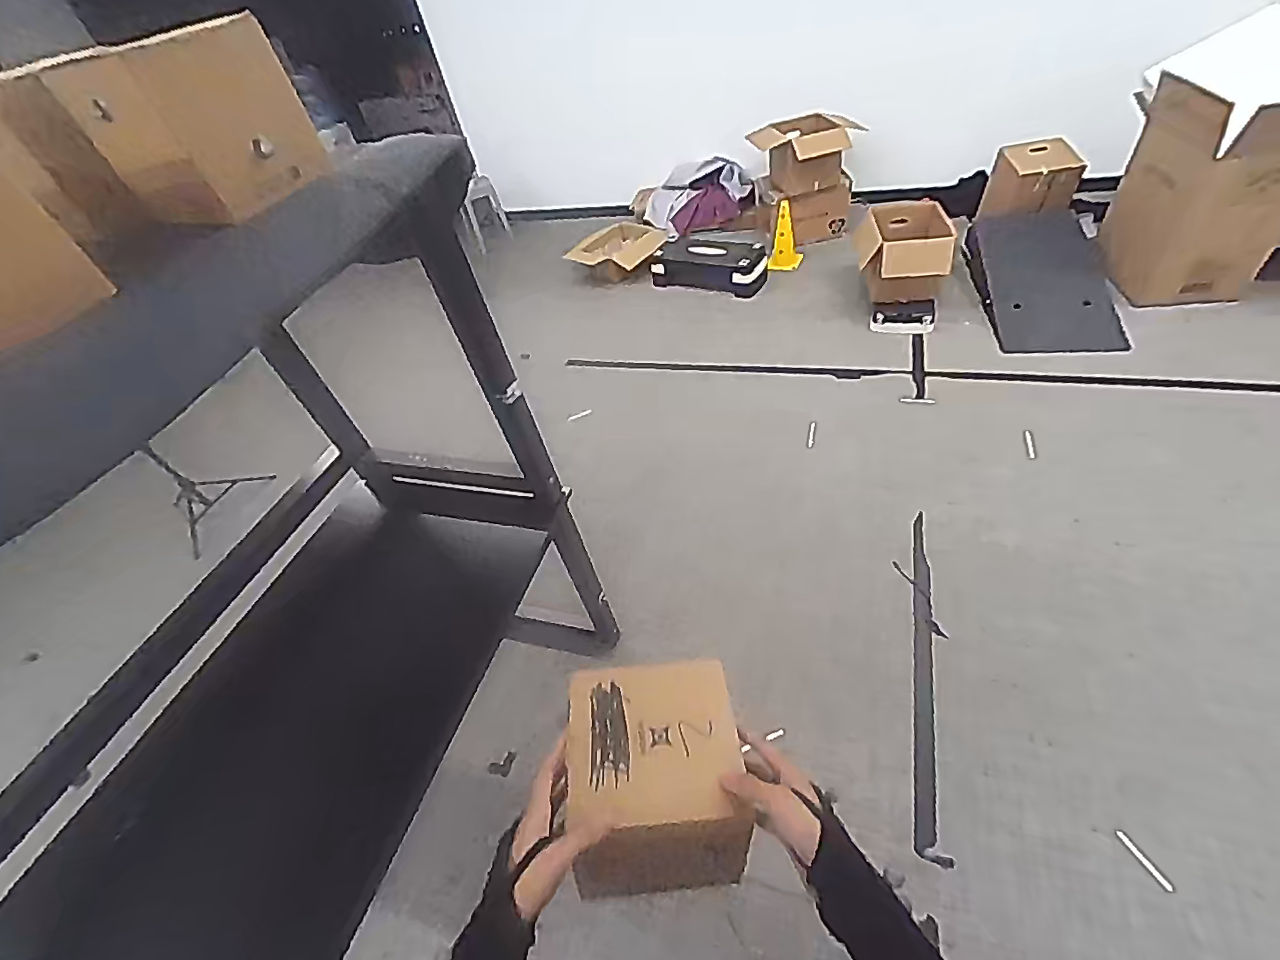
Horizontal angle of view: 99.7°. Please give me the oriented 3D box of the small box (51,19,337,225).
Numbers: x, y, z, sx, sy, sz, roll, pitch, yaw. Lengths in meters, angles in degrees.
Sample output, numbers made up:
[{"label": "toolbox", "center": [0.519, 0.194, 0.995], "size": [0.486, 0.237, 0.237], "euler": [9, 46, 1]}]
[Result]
[{"label": "small box", "center": [-0.527, -0.431, 0.664], "size": [0.179, 0.176, 0.168], "euler": [13, 52, 23]}]
